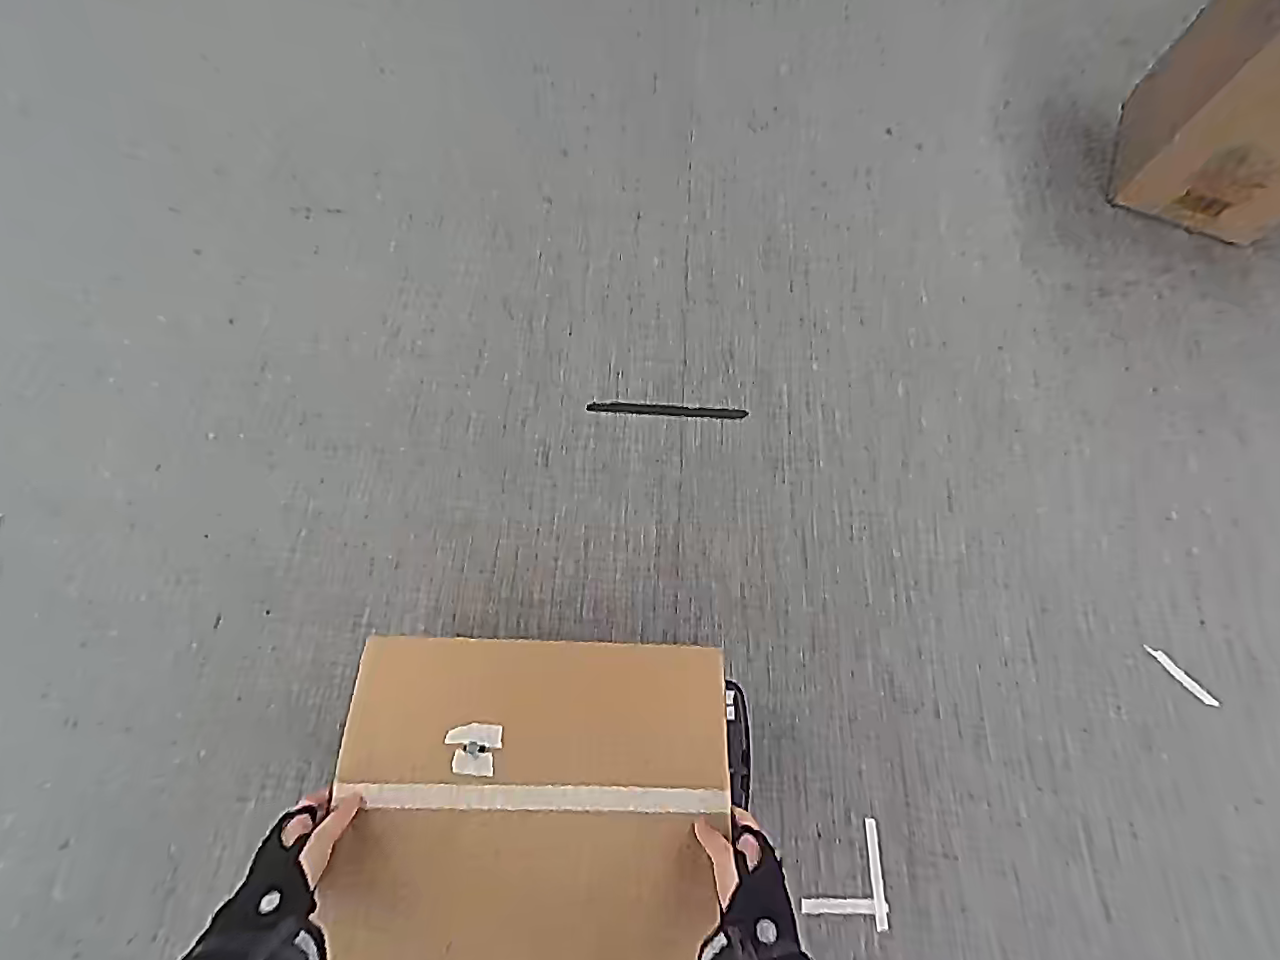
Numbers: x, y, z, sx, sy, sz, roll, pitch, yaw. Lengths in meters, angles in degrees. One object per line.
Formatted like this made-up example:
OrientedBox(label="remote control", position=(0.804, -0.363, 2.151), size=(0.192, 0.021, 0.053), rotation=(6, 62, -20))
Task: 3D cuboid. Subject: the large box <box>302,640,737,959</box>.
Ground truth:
OrientedBox(label="large box", position=(-0.110, 0.383, 0.680), size=(0.408, 0.320, 0.320), rotation=(2, 65, -1))
